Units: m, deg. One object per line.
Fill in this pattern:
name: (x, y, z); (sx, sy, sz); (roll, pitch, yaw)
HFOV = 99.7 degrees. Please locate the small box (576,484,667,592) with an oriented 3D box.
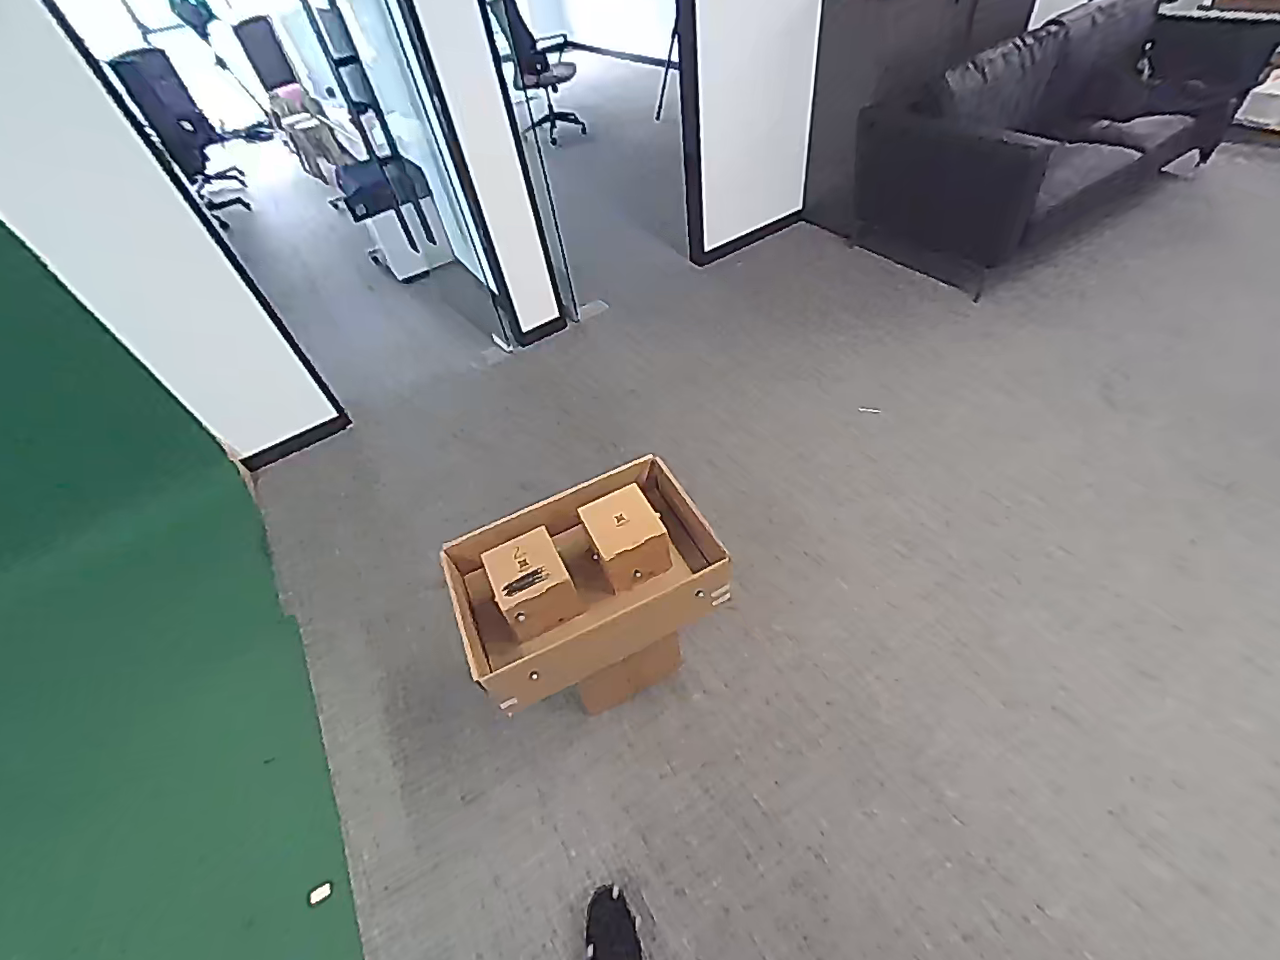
small box: (-0.045, 0.147, 1.355); (0.168, 0.176, 0.179); (-24, 52, -12)
